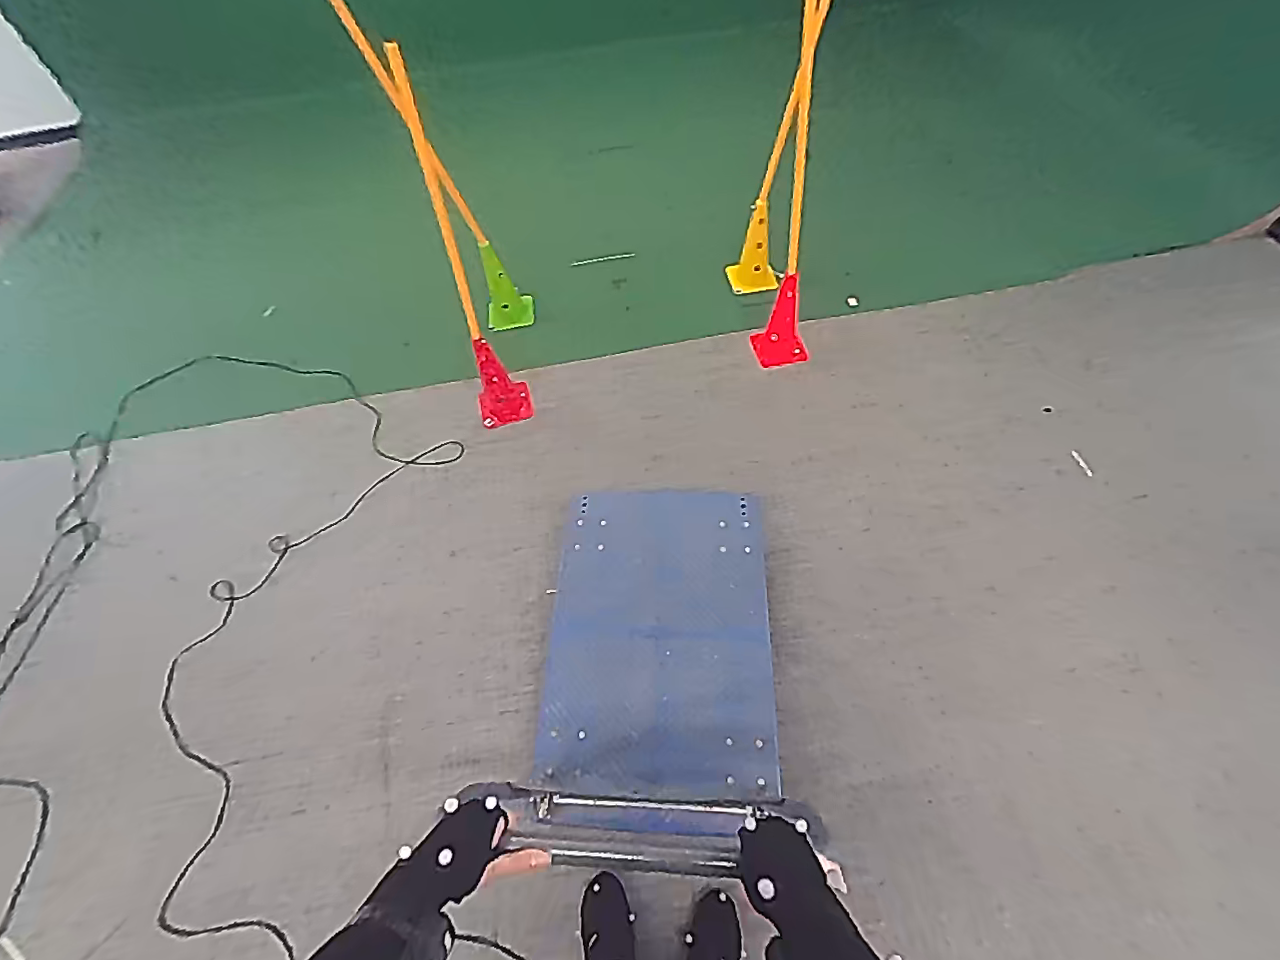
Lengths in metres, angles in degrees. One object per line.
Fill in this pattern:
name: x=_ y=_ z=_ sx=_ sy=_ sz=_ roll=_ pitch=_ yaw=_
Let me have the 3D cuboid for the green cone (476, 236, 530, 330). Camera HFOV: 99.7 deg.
green cone: x=-0.609 y=-0.847 z=2.279 sx=0.200 sy=0.368 sz=0.202 roll=-10 pitch=56 yaw=-1

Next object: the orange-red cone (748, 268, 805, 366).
orange-red cone: x=0.536 y=-0.634 z=2.038 sx=0.198 sy=0.360 sz=0.199 roll=-9 pitch=55 yaw=-2
